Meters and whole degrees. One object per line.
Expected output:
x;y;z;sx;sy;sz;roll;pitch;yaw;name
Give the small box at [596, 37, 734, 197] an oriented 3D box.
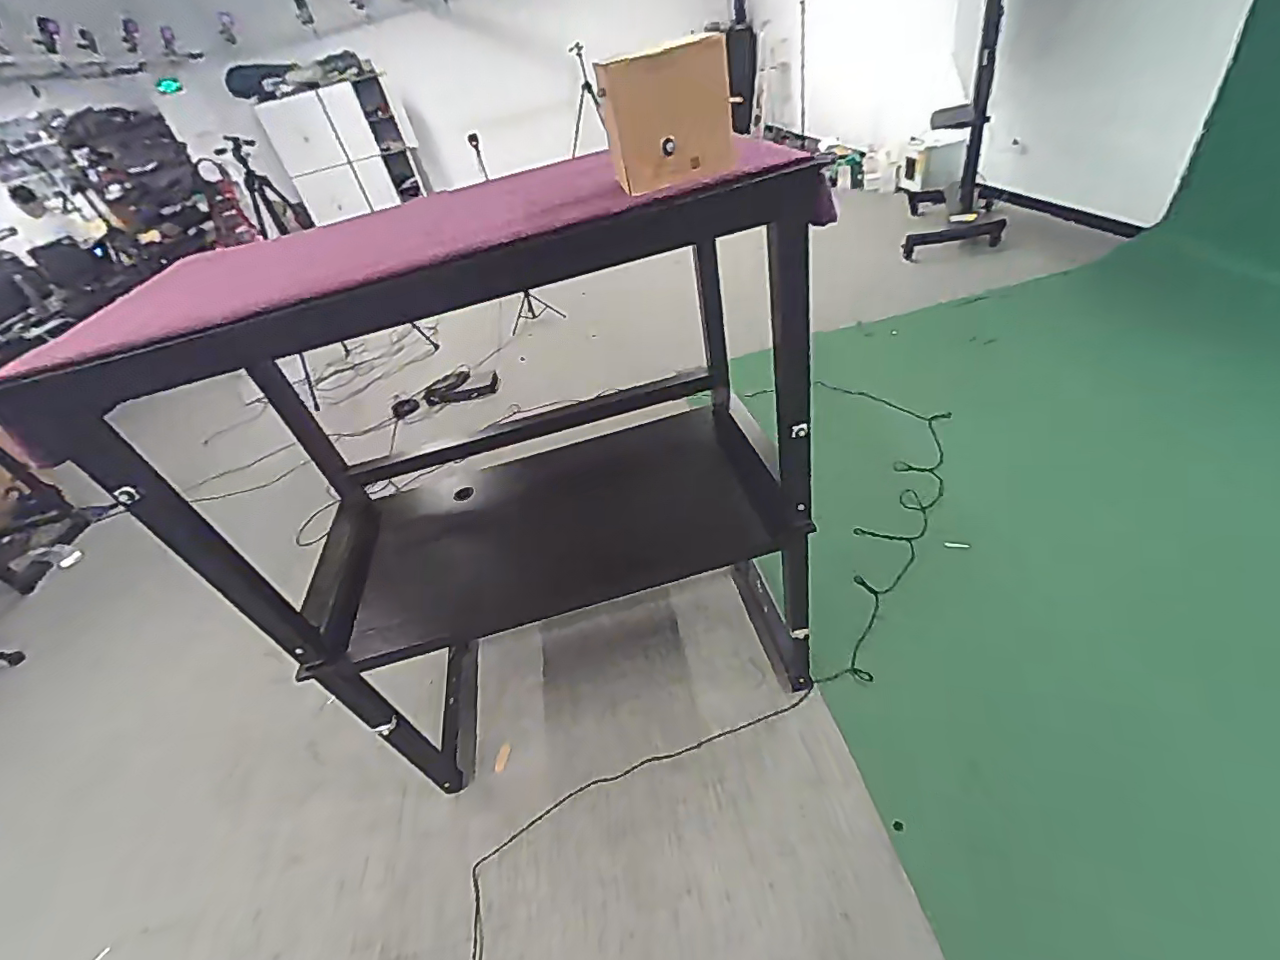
0.038;-0.554;0.832;0.168;0.176;0.179;-16;40;0;small box
